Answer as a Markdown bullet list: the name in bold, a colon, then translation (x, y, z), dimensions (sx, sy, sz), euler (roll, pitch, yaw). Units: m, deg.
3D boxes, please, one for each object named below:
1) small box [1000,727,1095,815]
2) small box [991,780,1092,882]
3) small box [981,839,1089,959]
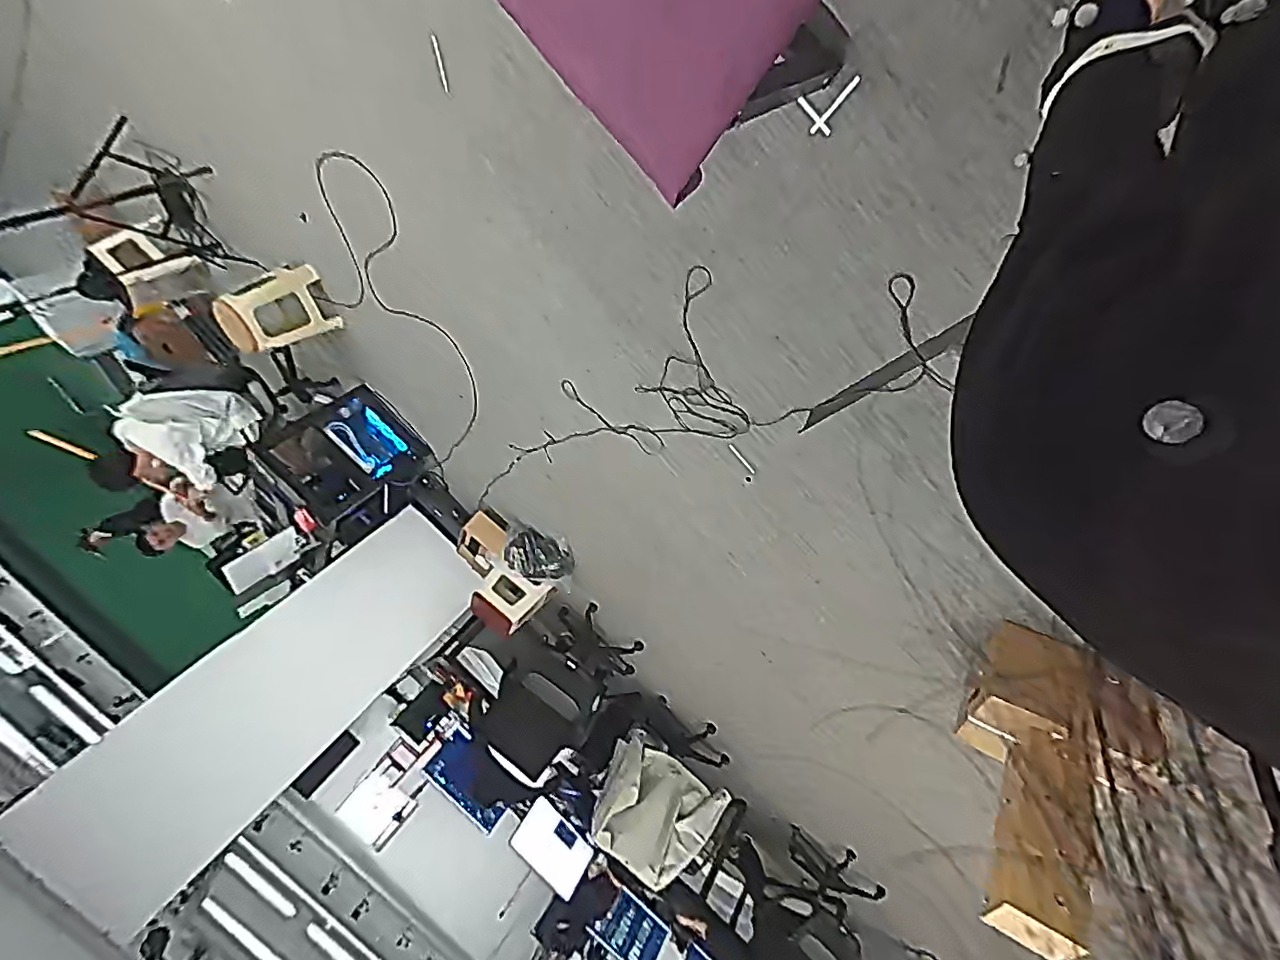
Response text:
- **small box**: translation (1.160, 0.846, 1.536), dimensions (0.168, 0.176, 0.179), euler (21, 137, 26)
- **small box**: translation (1.070, 0.944, 1.440), dimensions (0.168, 0.176, 0.179), euler (21, 138, 26)
- **small box**: translation (0.978, 1.036, 1.341), dimensions (0.168, 0.176, 0.179), euler (21, 138, 27)
